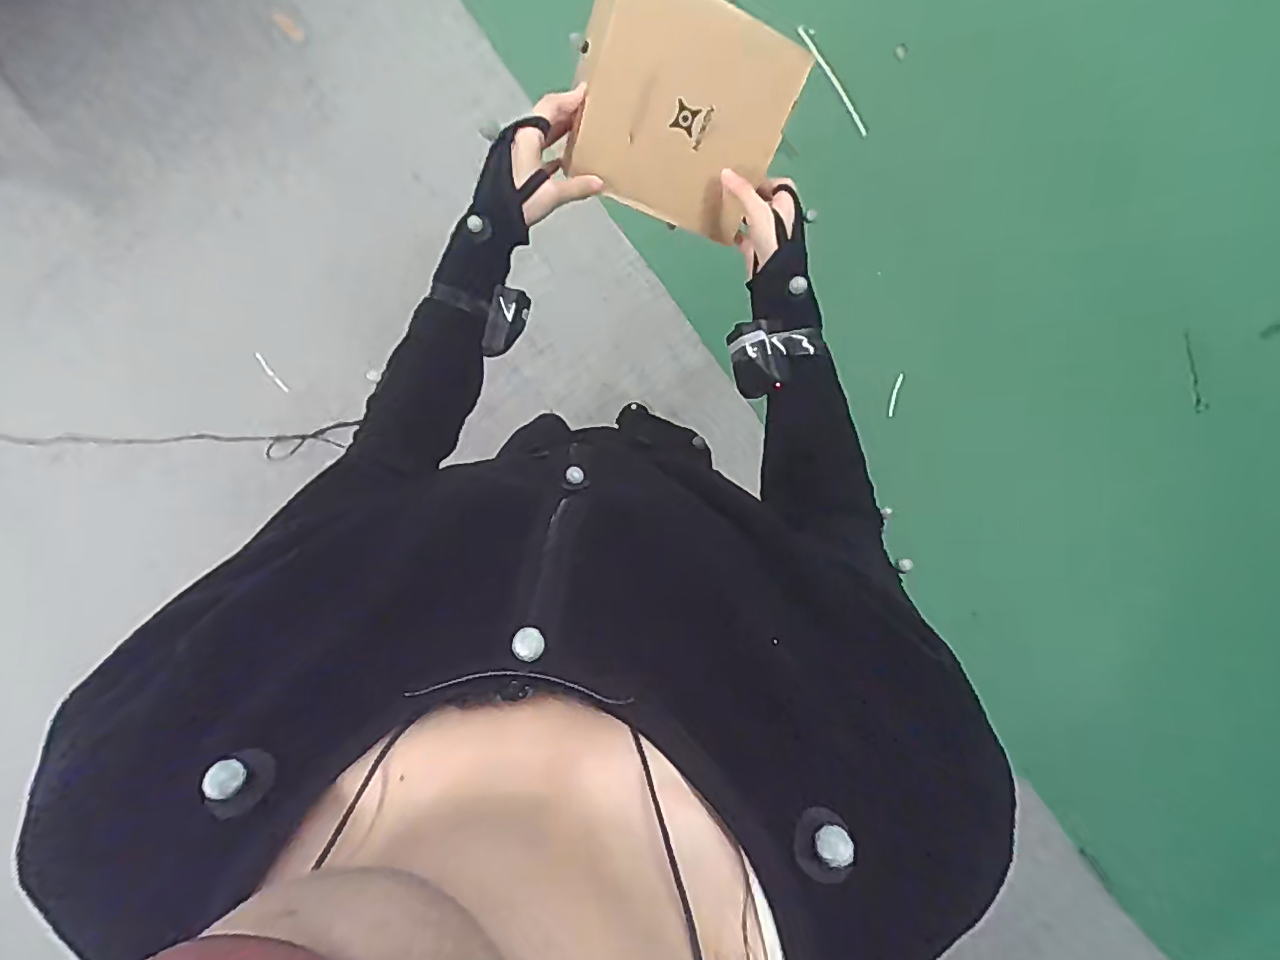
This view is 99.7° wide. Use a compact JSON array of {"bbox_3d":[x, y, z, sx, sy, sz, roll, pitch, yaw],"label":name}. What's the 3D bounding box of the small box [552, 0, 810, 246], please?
[{"bbox_3d":[0.023,-0.360,0.528,0.179,0.176,0.168,12,123,-22],"label":"small box"}]
